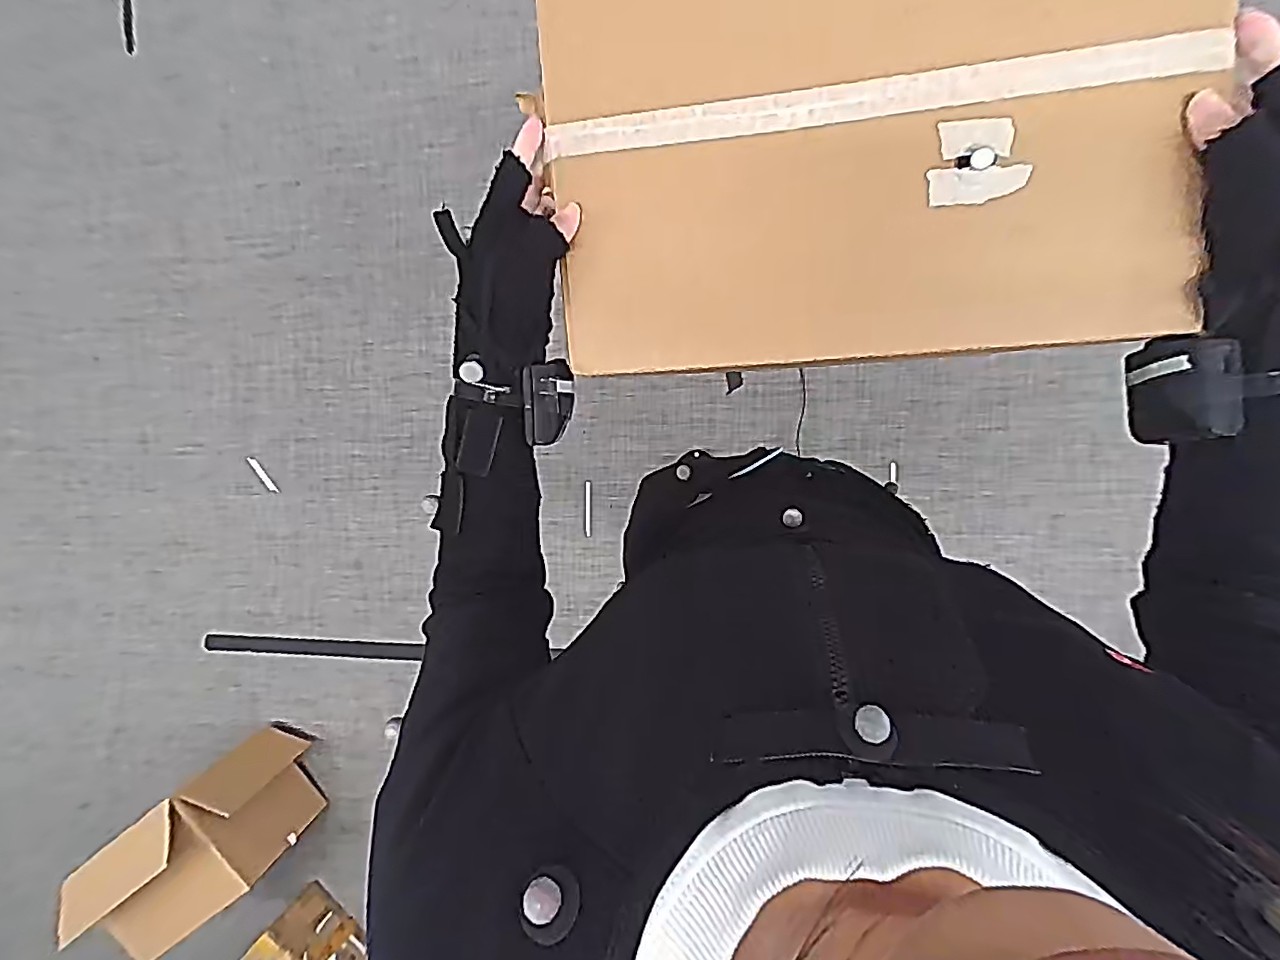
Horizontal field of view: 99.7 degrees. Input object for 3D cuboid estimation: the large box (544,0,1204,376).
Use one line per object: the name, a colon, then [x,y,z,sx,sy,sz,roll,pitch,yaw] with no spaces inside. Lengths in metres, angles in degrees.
large box: [0.155,-0.270,0.498,0.408,0.320,0.320,-3,101,7]
